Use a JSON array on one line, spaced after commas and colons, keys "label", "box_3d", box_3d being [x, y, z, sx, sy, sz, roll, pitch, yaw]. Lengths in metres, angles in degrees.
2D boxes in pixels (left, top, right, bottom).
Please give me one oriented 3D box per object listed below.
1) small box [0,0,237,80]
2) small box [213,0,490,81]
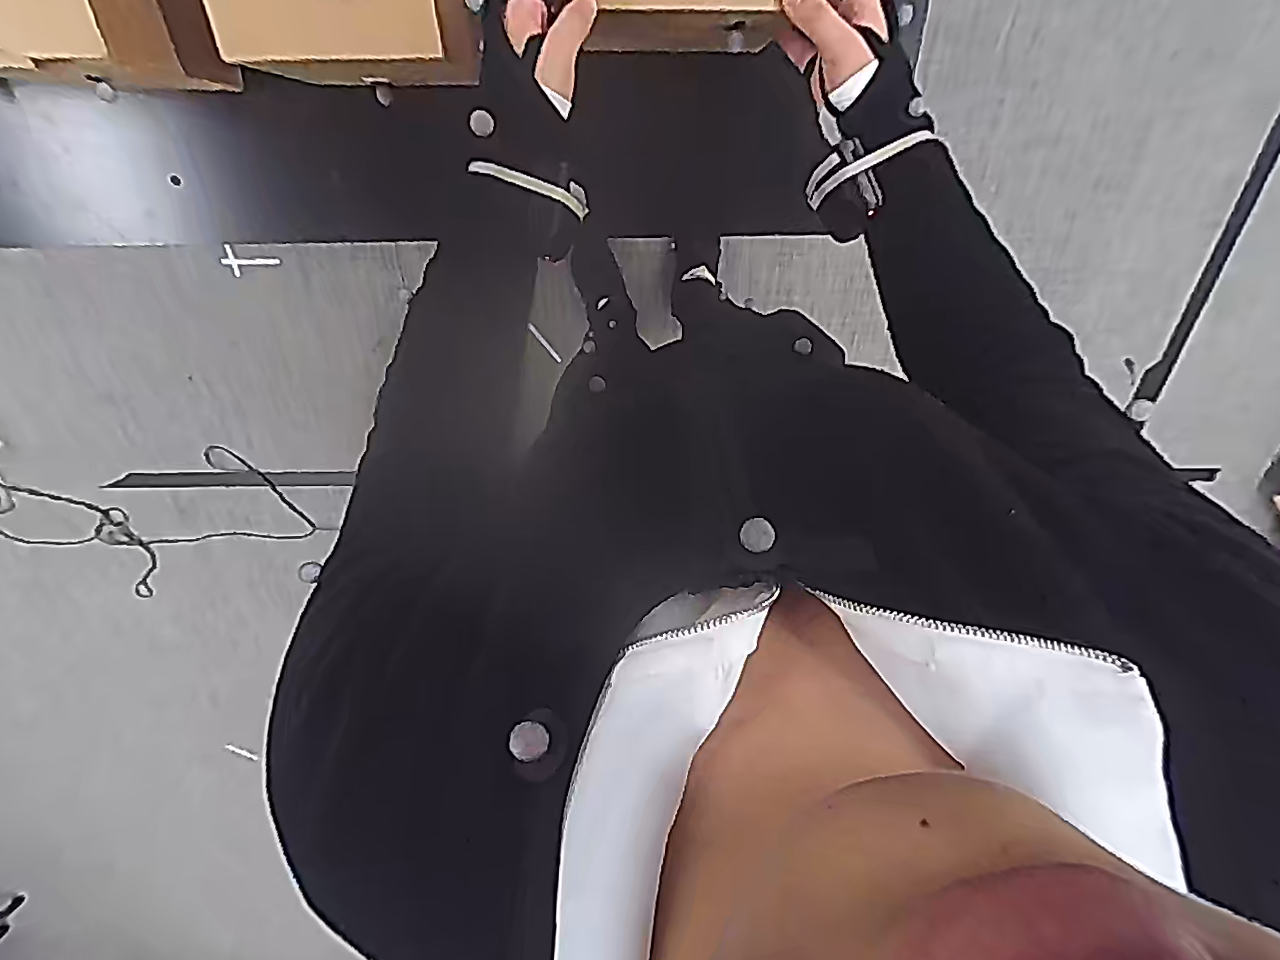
[{"label": "small box", "box_3d": [-0.466, -0.425, 0.420, 0.168, 0.176, 0.179, -2, 121, -3]}, {"label": "small box", "box_3d": [-0.227, -0.435, 0.428, 0.168, 0.176, 0.179, -2, 122, 0]}]
